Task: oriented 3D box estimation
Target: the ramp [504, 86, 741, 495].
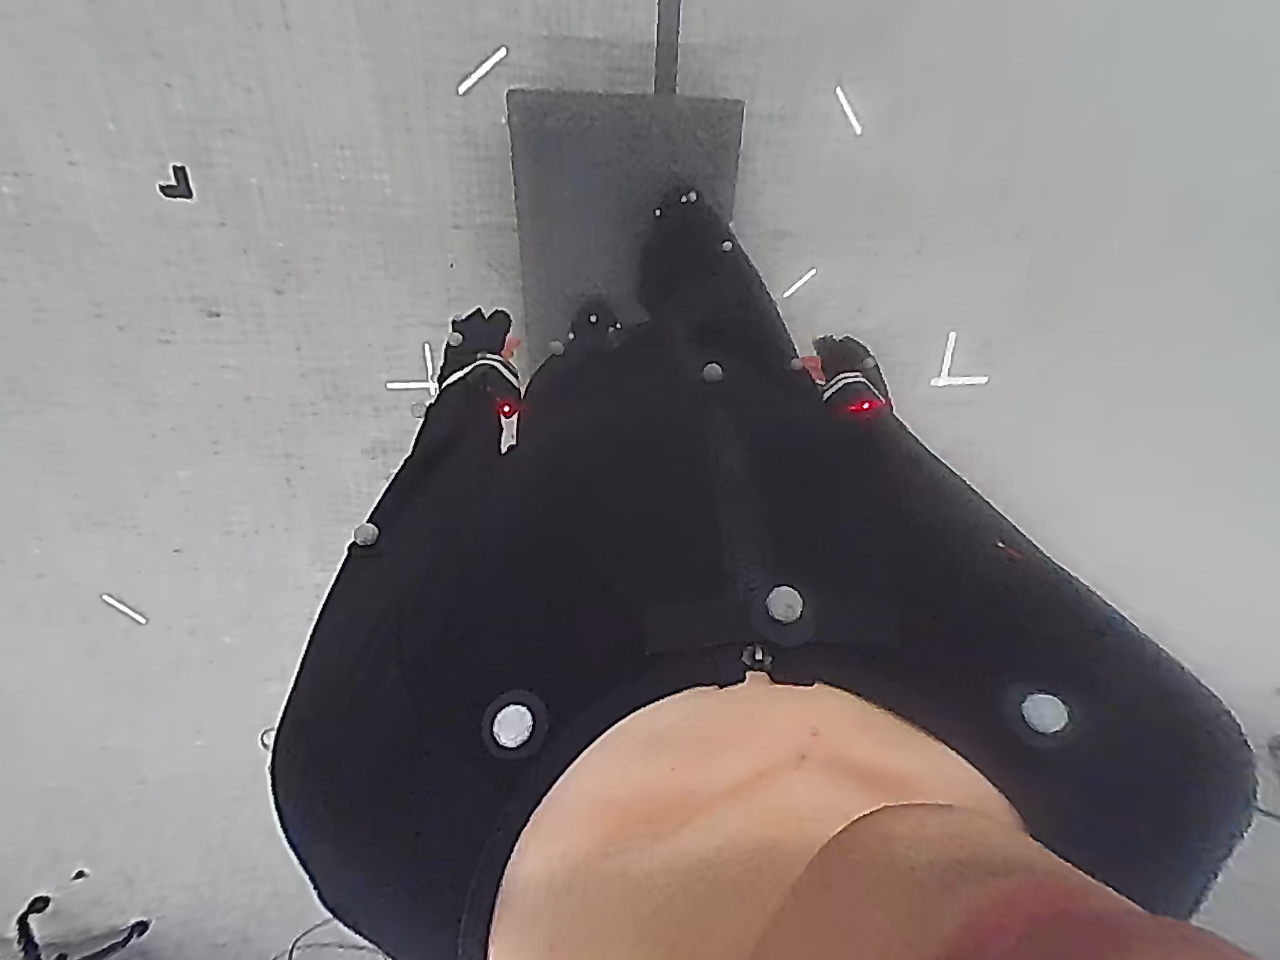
[{"bbox_3d":[-0.043,-0.379,1.372,0.509,0.206,0.991,-3,114,-5],"label":"ramp"}]
